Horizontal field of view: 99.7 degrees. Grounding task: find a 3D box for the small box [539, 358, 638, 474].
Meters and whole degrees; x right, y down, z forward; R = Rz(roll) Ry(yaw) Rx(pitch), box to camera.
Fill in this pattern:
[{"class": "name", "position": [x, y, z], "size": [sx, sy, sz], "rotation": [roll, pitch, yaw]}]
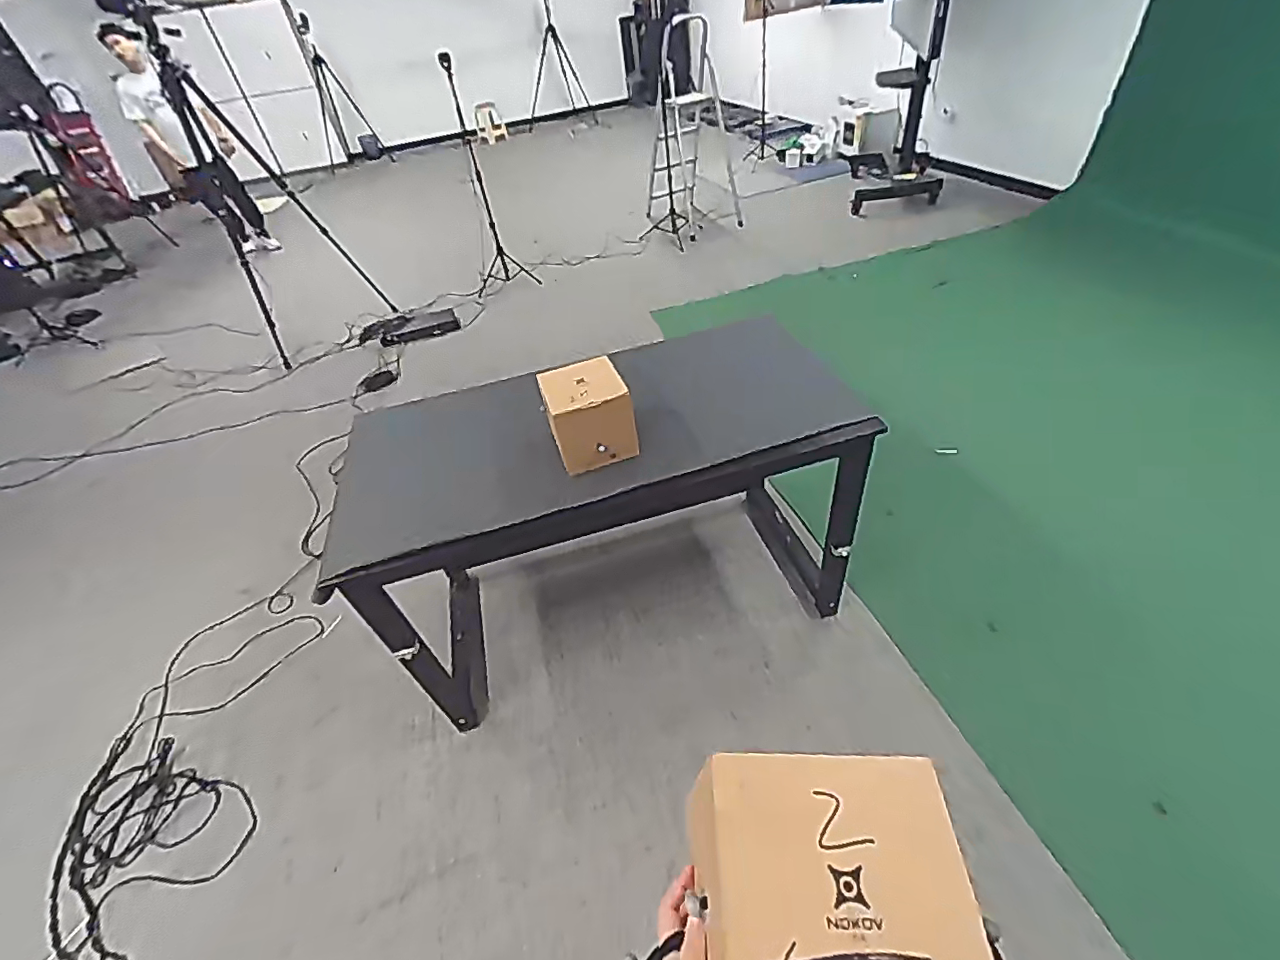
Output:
[{"class": "small box", "position": [-0.112, -0.142, 1.193], "size": [0.168, 0.176, 0.179], "rotation": [-18, 42, -9]}]
